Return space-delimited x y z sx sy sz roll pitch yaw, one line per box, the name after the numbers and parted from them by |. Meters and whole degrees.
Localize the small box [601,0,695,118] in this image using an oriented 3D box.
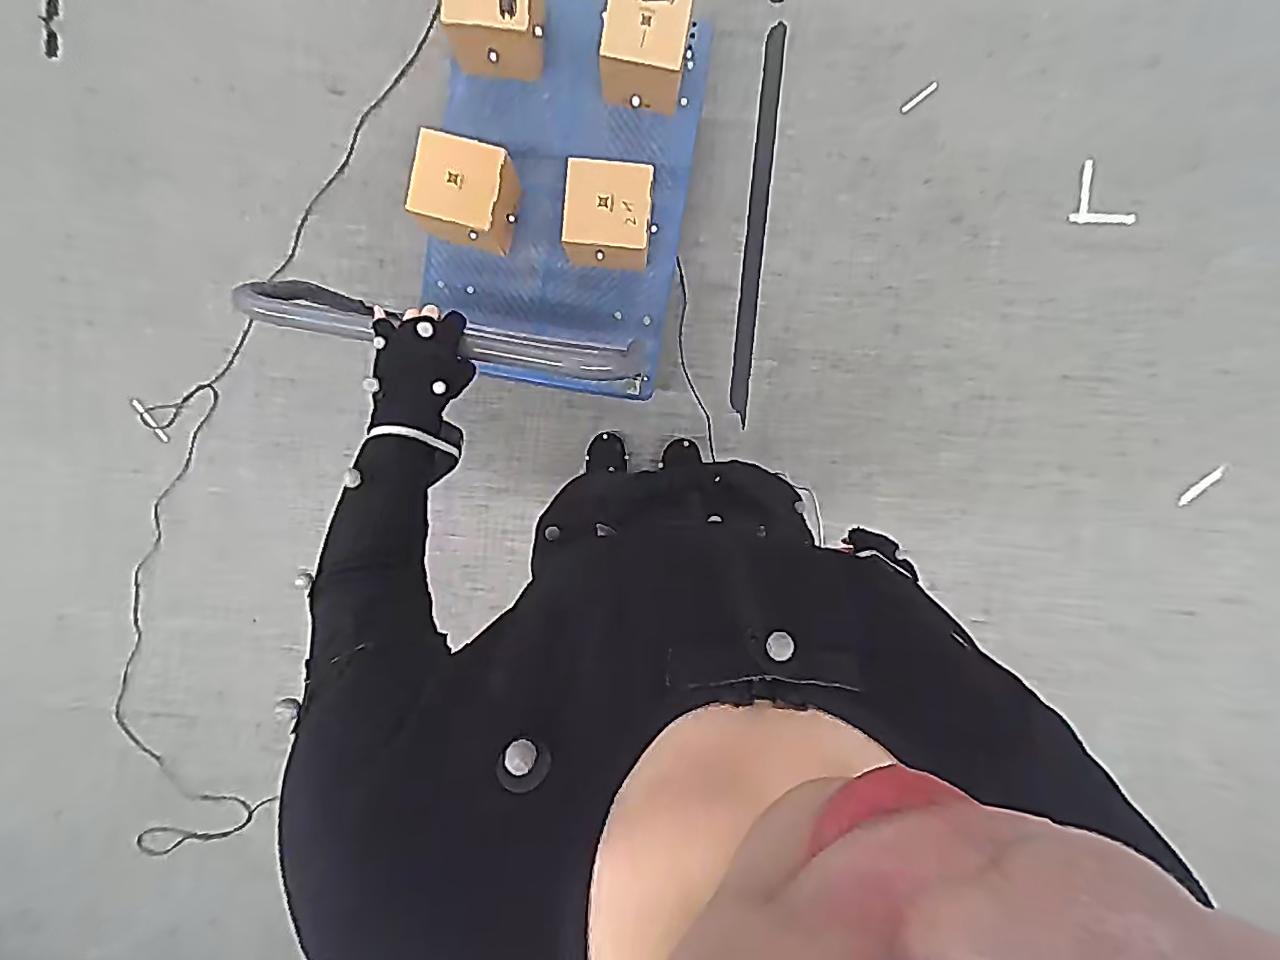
0.016 -0.913 1.142 0.168 0.176 0.179 10 96 -1 | small box

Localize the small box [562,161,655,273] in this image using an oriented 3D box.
-0.064 -0.562 1.174 0.179 0.176 0.168 5 95 0 | small box

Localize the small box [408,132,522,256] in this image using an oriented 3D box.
-0.370 -0.606 1.170 0.179 0.176 0.168 13 95 -3 | small box
